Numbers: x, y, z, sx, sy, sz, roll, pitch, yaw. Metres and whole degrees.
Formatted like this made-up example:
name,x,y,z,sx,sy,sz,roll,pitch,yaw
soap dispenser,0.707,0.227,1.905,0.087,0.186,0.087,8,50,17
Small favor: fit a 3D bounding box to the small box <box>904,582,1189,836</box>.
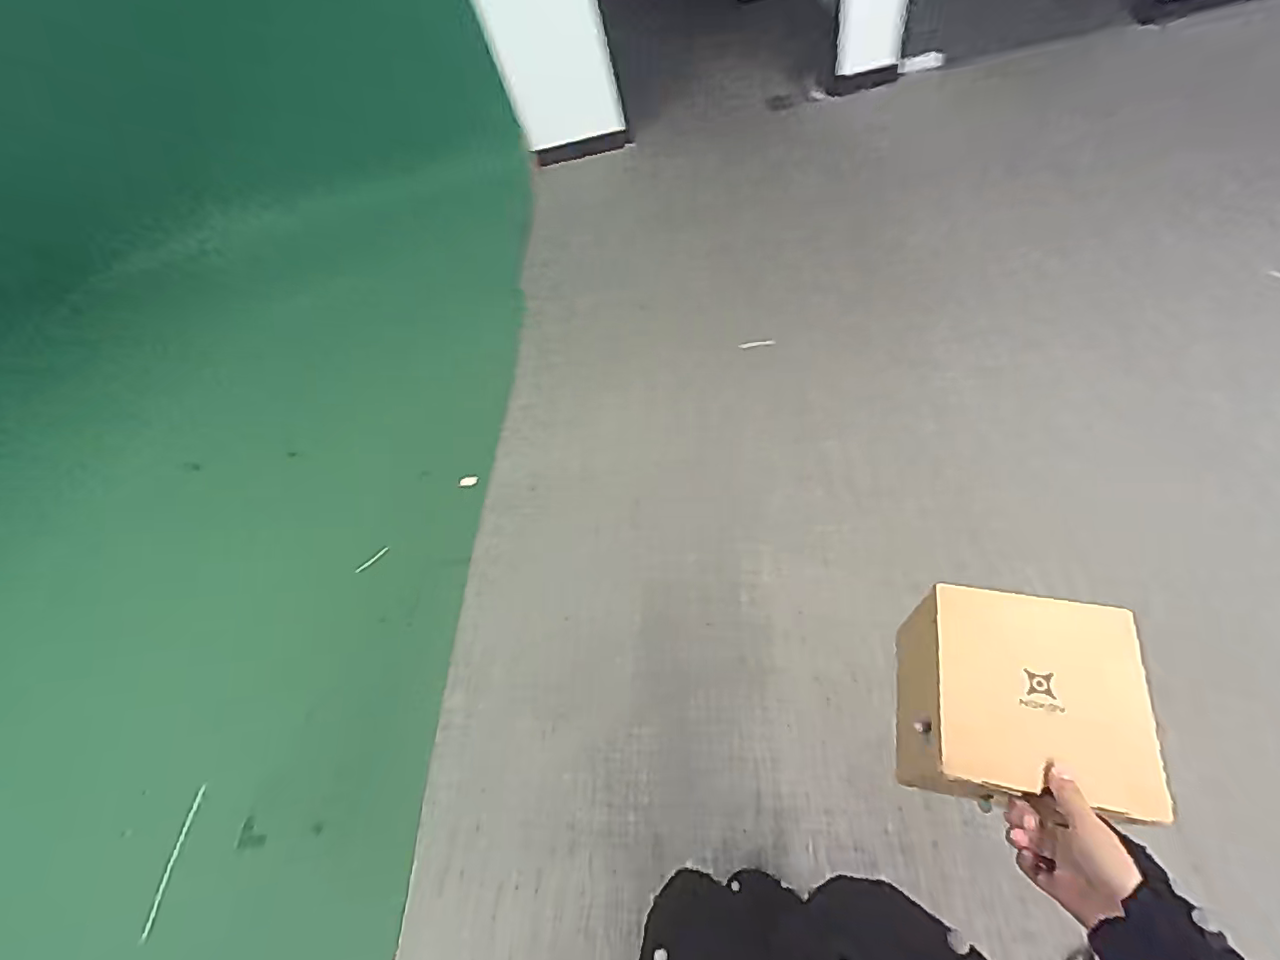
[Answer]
name,x,y,z,sx,sy,sz,roll,pitch,yaw
small box,0.371,0.225,0.535,0.168,0.176,0.179,8,62,15
